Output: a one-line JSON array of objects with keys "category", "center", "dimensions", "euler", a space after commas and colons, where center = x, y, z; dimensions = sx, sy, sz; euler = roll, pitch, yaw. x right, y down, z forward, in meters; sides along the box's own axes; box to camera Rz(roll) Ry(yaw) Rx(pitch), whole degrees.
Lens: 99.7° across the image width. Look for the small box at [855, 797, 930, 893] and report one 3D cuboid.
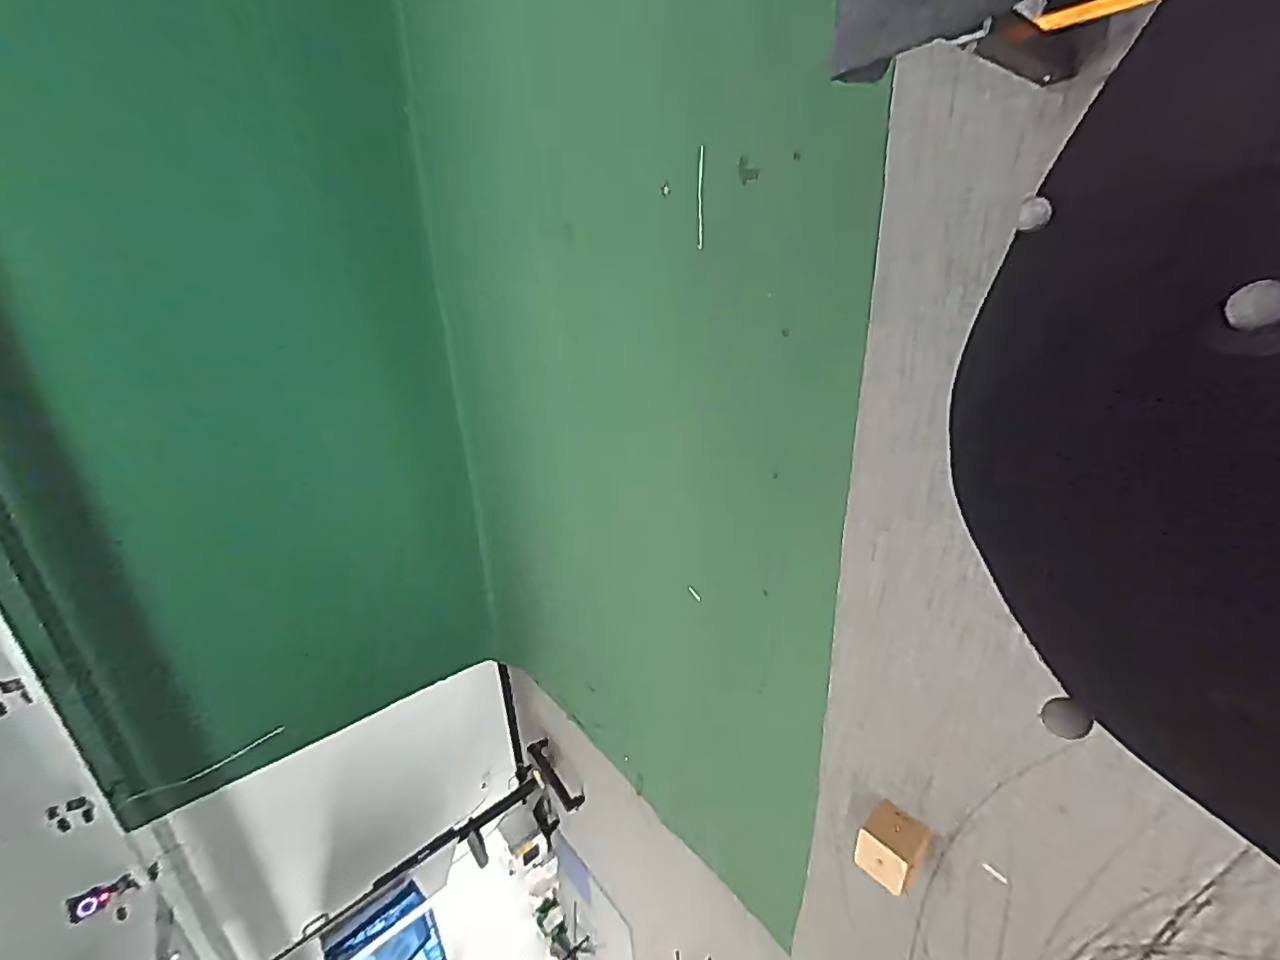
[{"category": "small box", "center": [0.871, 1.246, 1.860], "dimensions": [0.168, 0.176, 0.179], "euler": [24, 123, 47]}]
